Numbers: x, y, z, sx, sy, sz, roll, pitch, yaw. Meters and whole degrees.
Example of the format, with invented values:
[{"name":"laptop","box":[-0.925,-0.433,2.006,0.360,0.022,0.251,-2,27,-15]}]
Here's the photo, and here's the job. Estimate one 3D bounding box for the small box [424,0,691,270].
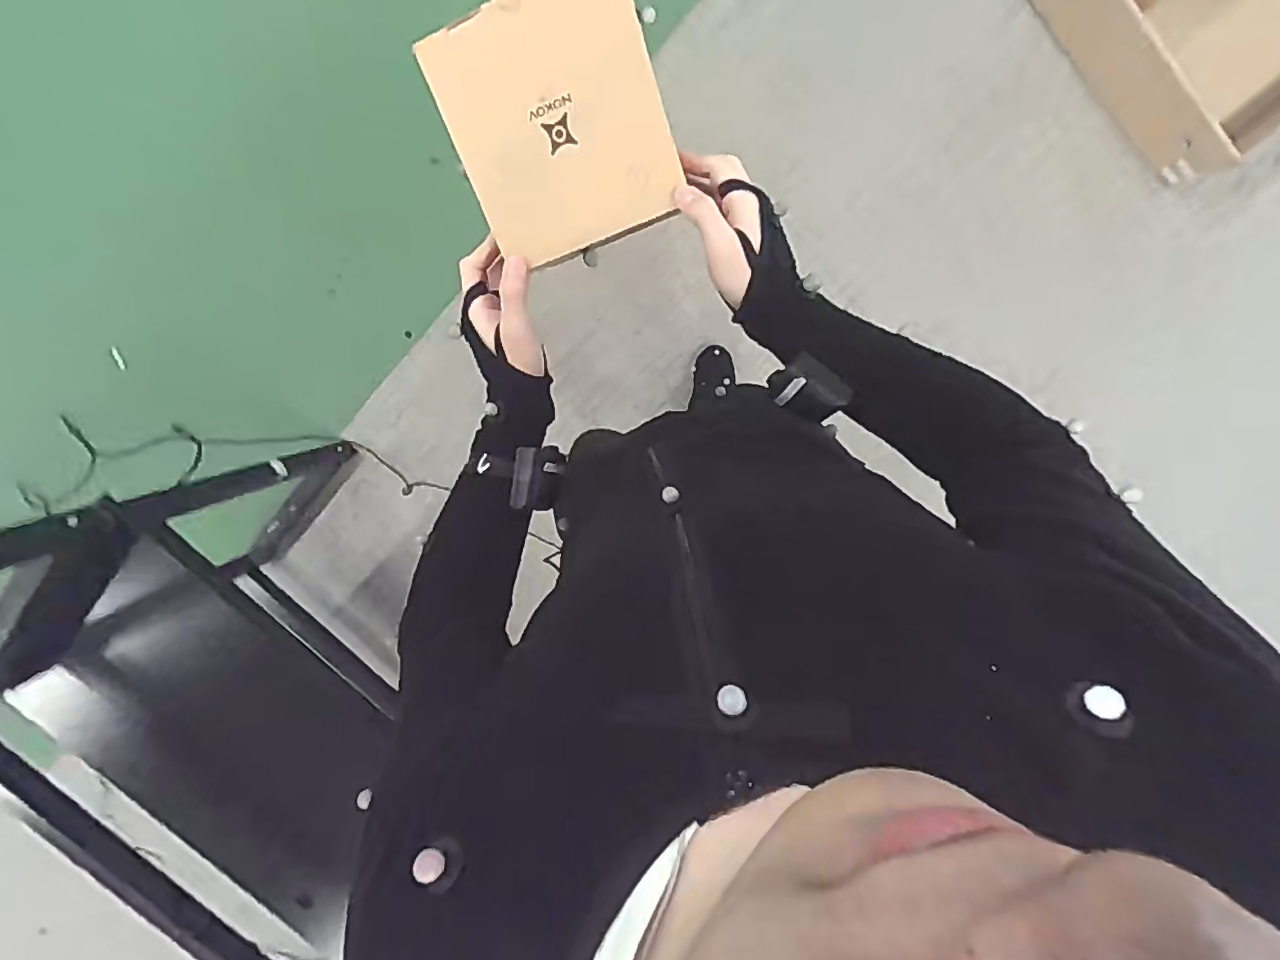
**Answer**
[{"name":"small box","box":[-0.054,-0.311,0.494,0.168,0.176,0.179,-17,112,11]}]
